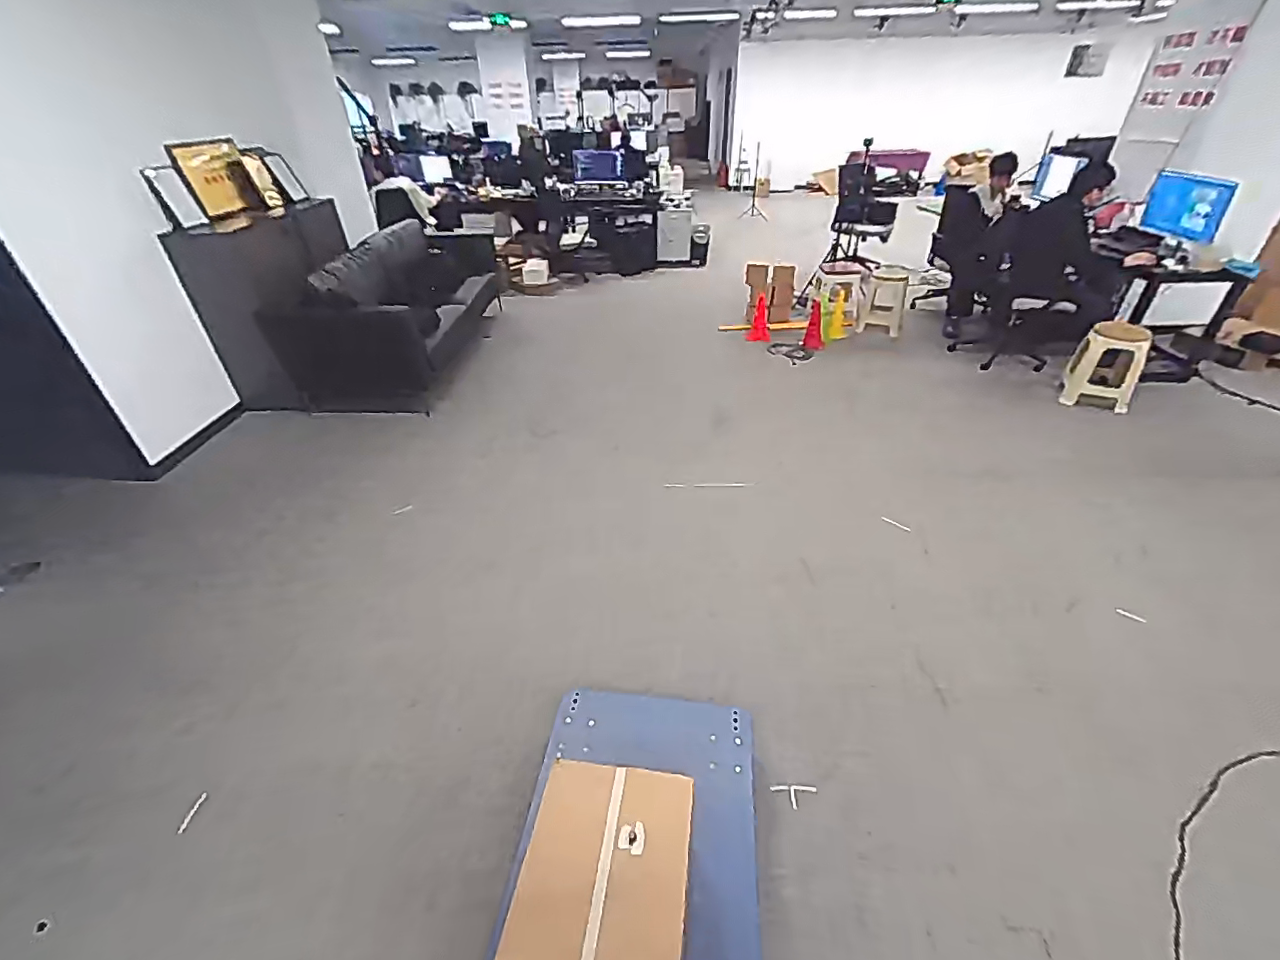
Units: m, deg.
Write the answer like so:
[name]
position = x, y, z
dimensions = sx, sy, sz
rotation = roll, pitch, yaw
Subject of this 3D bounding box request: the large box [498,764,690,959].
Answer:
[large box]
position = -0.066, 0.868, 1.092
dimensions = 0.320, 0.320, 0.408
rotation = 4, 33, 7
